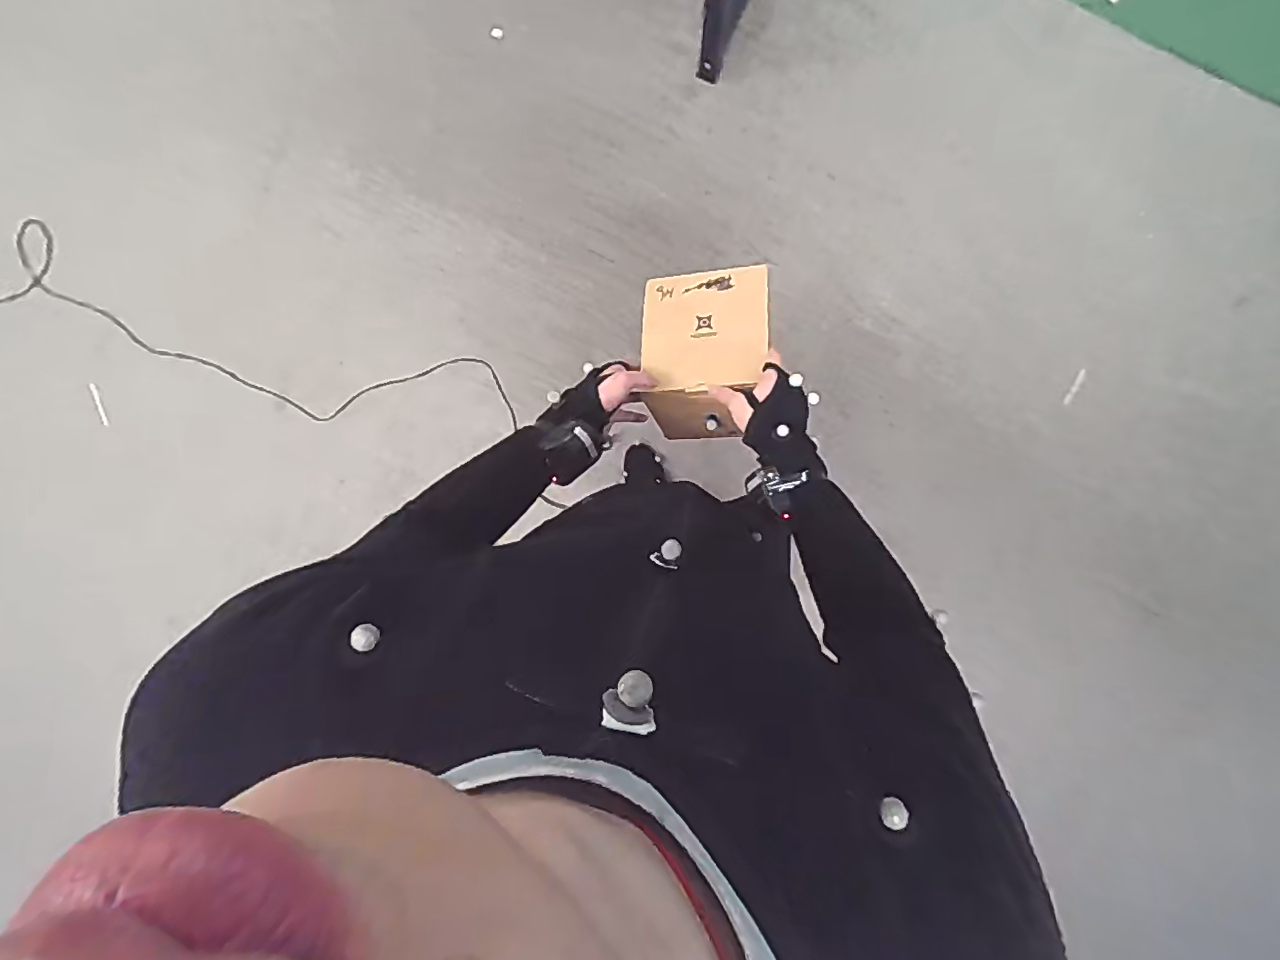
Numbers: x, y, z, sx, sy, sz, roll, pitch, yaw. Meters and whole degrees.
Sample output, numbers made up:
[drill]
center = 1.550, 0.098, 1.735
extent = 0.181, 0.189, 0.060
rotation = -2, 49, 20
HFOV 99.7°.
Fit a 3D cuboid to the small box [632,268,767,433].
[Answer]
[small box]
center = 0.095, -0.173, 0.786
extent = 0.168, 0.176, 0.179
rotation = -2, 73, 17
